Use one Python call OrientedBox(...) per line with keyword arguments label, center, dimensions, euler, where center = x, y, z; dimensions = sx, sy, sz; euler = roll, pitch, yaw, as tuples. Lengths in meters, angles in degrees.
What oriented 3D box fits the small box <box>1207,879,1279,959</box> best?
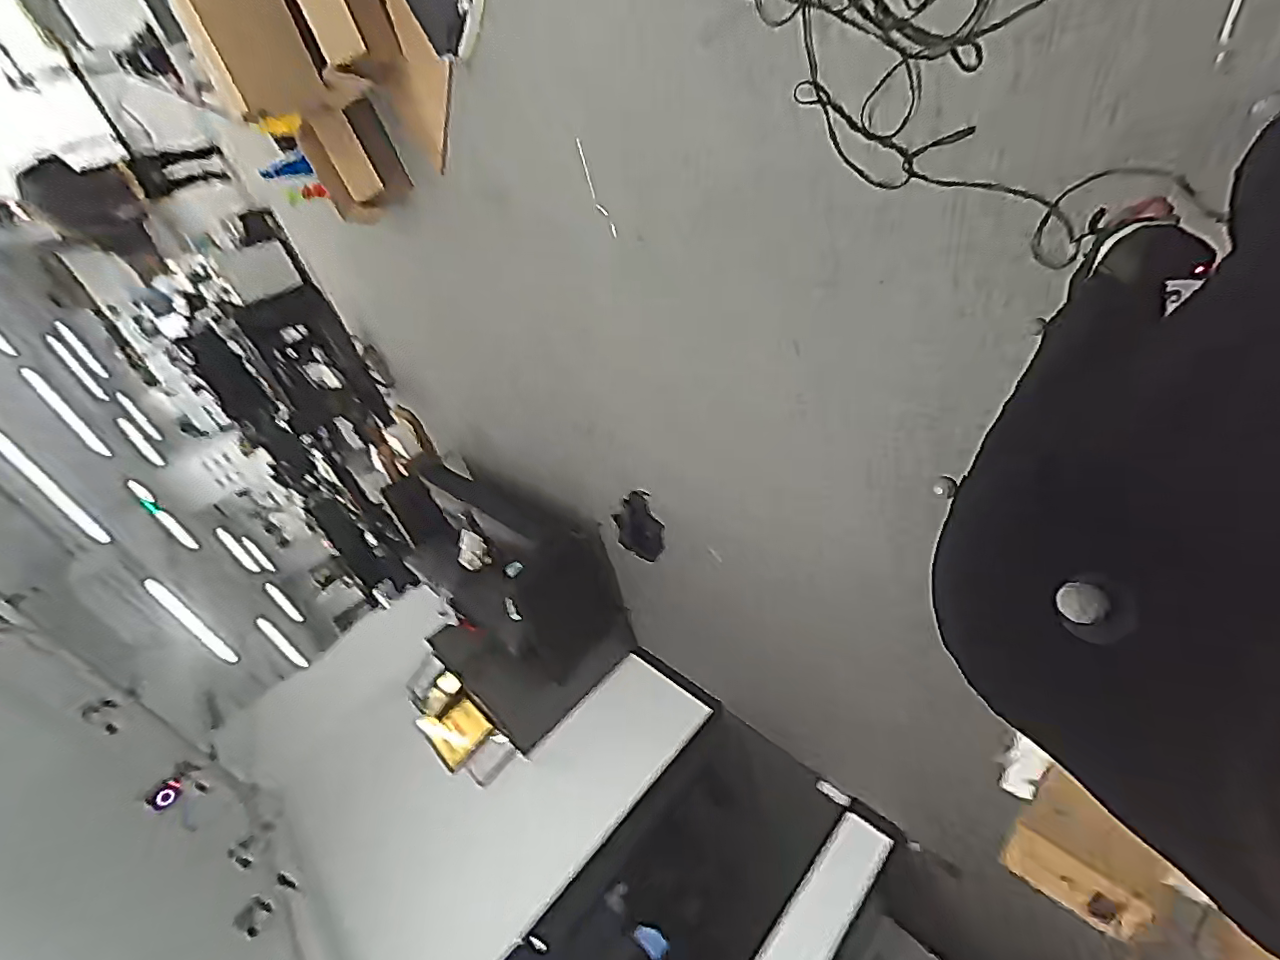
OrientedBox(label="small box", center=(0.929, 0.714, 0.748), dimensions=(0.168, 0.176, 0.179), euler=(24, 138, 43))
